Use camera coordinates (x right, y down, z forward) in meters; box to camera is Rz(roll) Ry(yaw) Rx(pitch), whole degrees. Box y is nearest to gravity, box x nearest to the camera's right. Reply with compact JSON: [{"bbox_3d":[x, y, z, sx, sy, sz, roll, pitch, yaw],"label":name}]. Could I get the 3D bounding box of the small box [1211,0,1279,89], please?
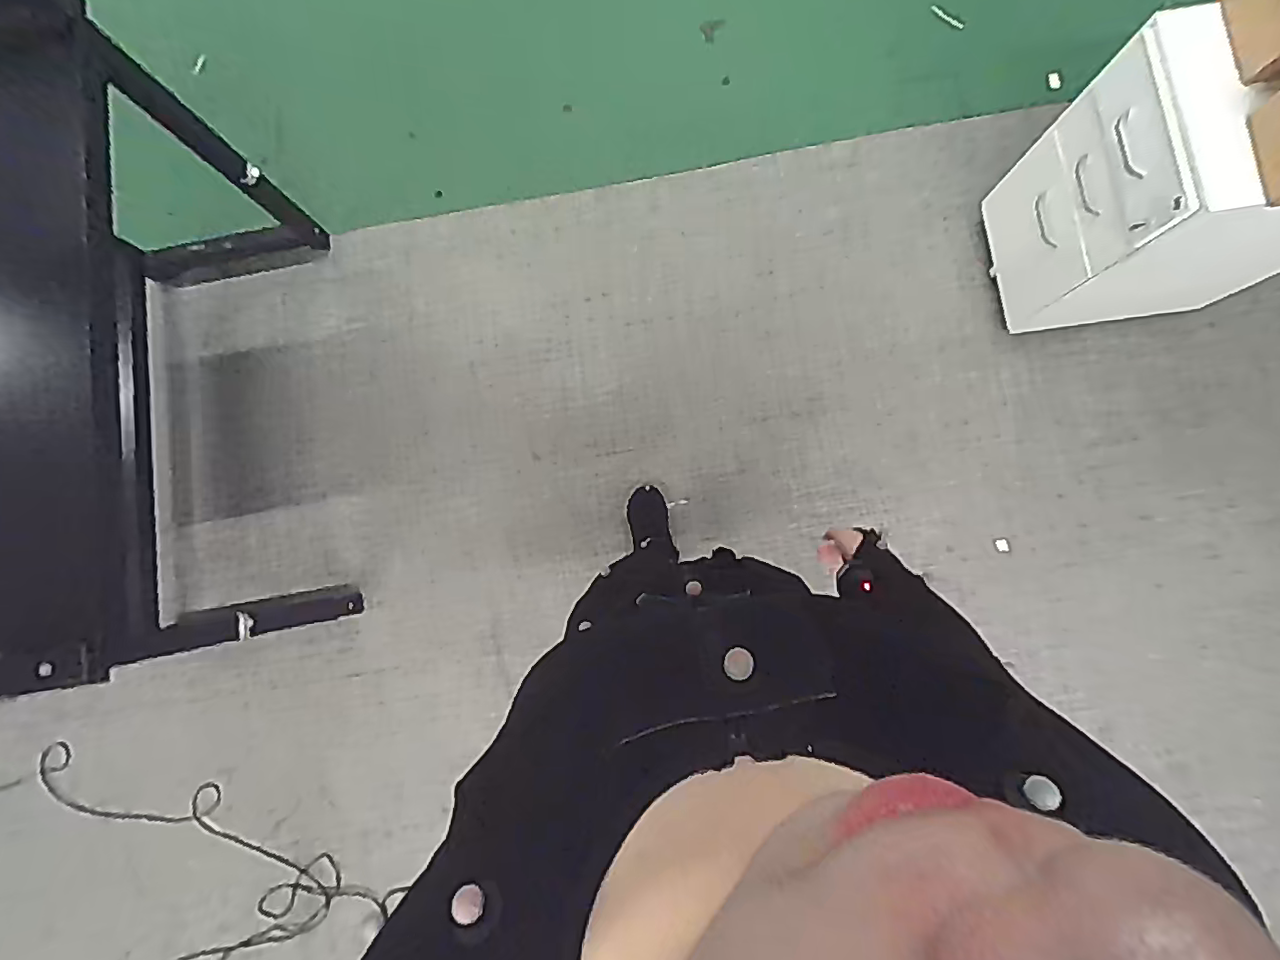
[{"bbox_3d":[1.125,-0.805,0.900,0.168,0.176,0.179,-8,83,2],"label":"small box"}]
